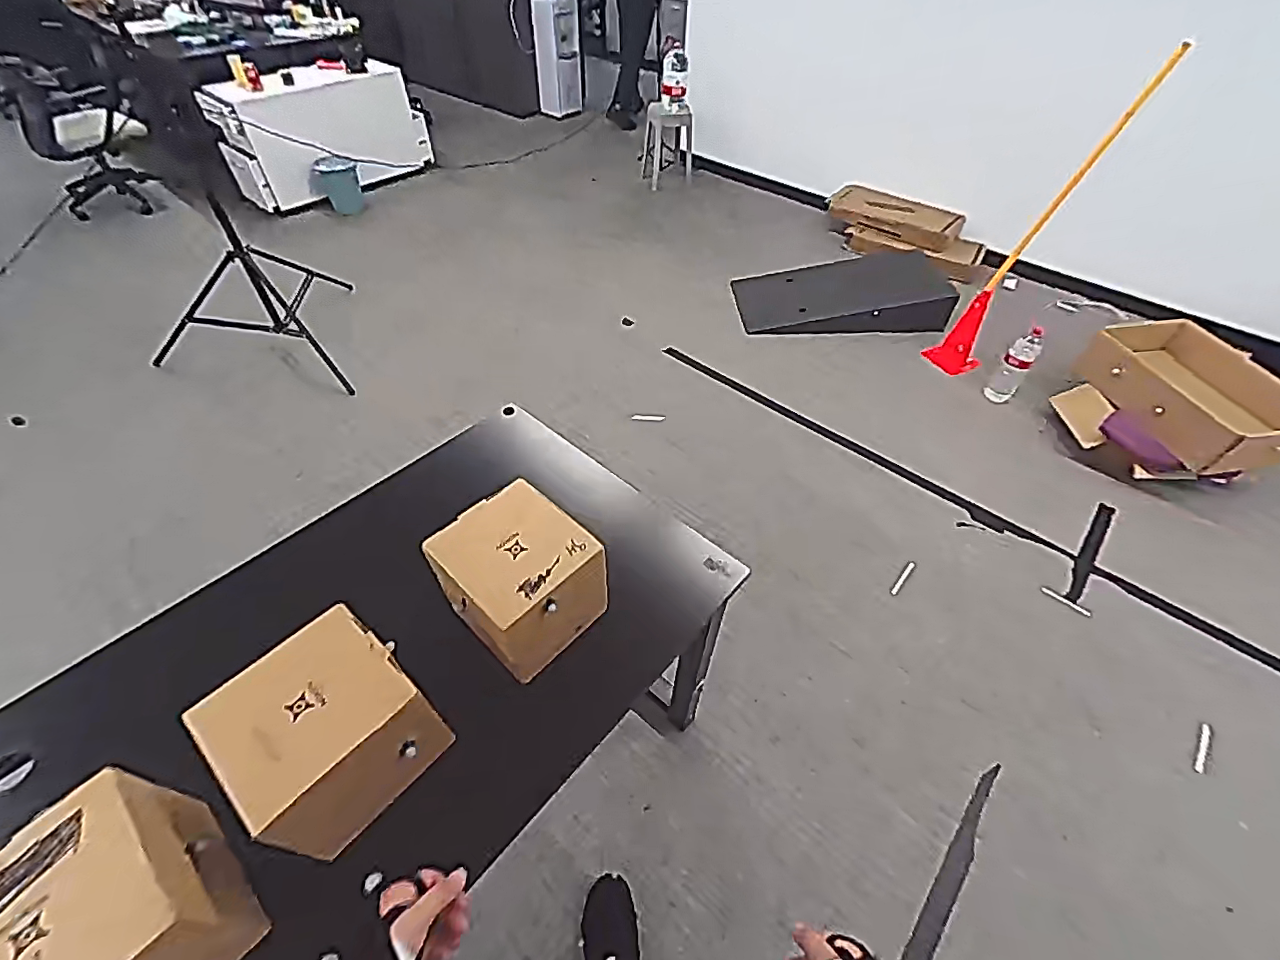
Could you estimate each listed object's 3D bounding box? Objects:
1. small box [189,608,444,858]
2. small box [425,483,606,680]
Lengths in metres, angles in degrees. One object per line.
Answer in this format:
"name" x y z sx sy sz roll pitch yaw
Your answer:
"small box" -0.350 0.291 0.624 0.168 0.176 0.179 33 57 26
"small box" -0.165 0.143 0.758 0.179 0.176 0.168 35 57 27
